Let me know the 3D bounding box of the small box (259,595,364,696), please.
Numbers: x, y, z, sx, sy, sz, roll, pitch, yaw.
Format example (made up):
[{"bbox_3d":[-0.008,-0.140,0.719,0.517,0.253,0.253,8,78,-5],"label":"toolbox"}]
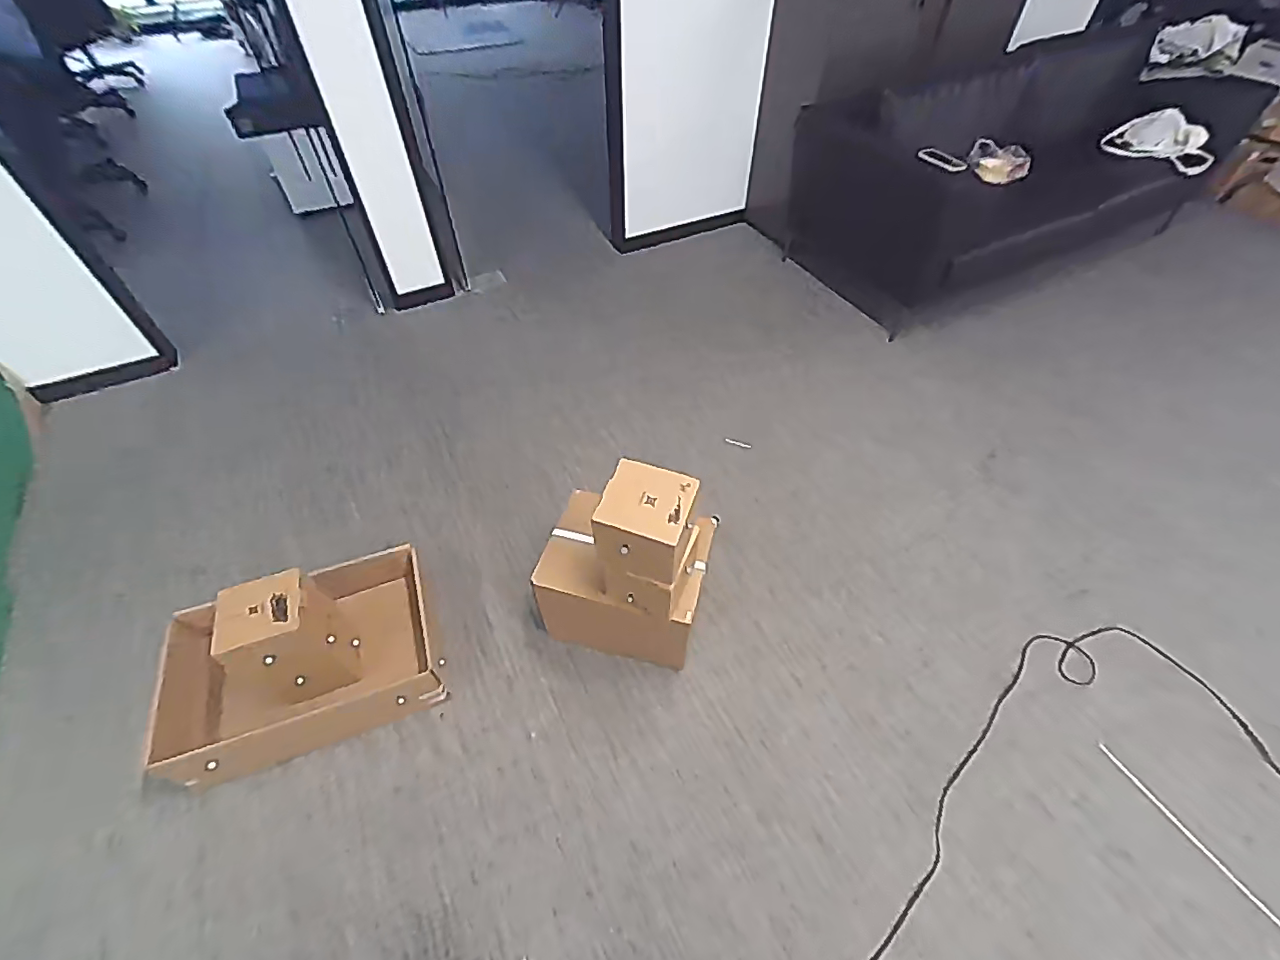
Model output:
[{"bbox_3d":[-0.837,0.429,1.390,0.179,0.176,0.168,-17,53,-13],"label":"small box"}]

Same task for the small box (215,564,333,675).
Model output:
[{"bbox_3d":[-0.838,0.327,1.261,0.179,0.176,0.168,-17,53,-12],"label":"small box"}]

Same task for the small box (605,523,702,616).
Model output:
[{"bbox_3d":[0.031,0.185,1.256,0.168,0.176,0.179,20,57,15],"label":"small box"}]

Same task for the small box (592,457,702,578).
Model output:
[{"bbox_3d":[0.018,0.082,1.127,0.179,0.176,0.168,16,56,13],"label":"small box"}]
